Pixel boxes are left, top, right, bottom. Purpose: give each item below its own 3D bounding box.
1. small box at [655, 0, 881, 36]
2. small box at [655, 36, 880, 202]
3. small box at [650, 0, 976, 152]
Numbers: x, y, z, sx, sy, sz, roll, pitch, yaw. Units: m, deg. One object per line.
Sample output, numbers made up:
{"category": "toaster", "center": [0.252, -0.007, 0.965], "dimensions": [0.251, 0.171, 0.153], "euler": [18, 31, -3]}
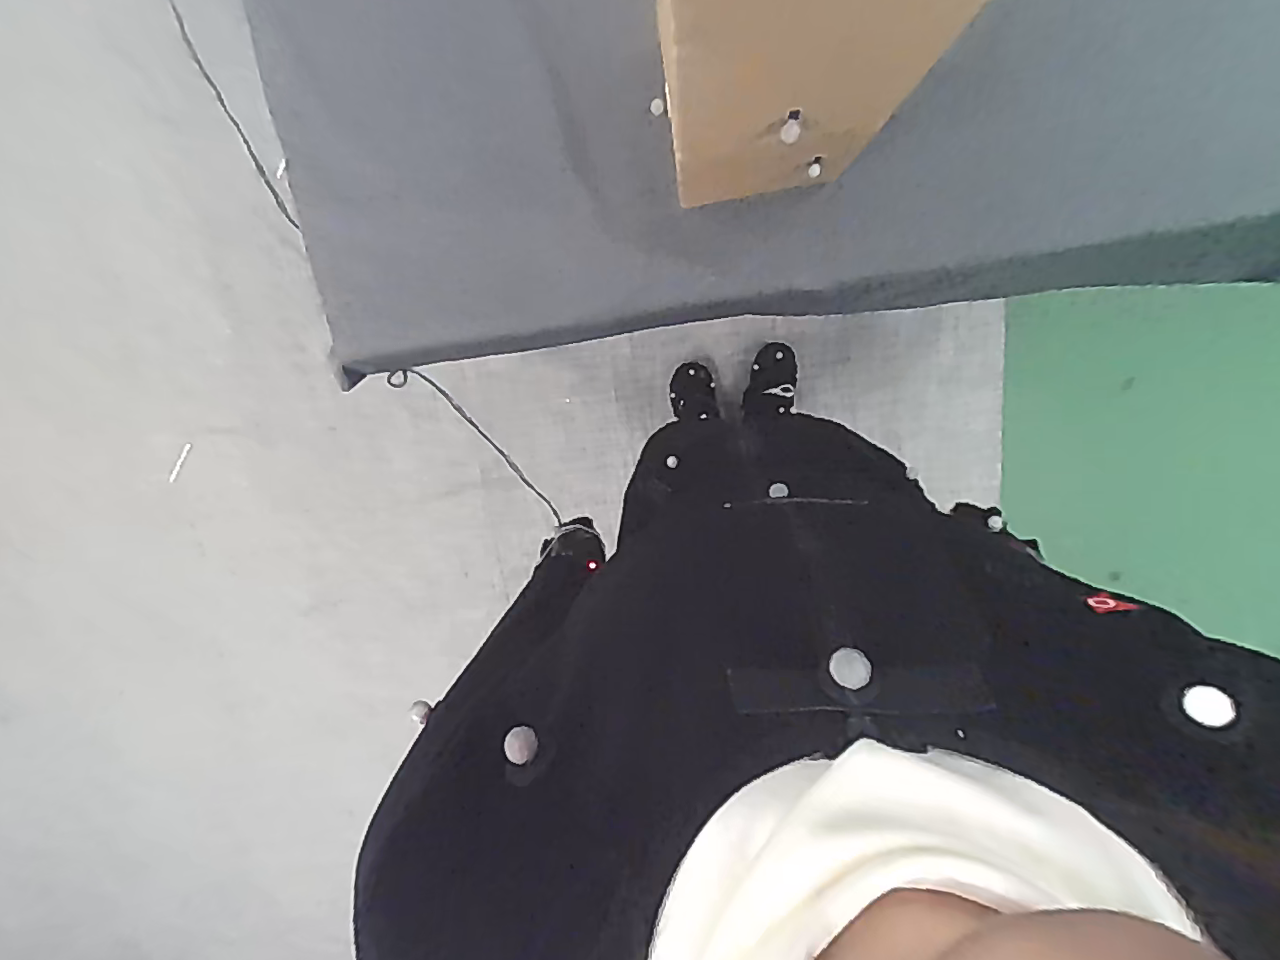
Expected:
{"category": "small box", "center": [0.081, -0.311, 0.196], "dimensions": [0.179, 0.176, 0.168], "euler": [-6, 102, 7]}
{"category": "small box", "center": [0.108, -0.386, 0.515], "dimensions": [0.179, 0.176, 0.168], "euler": [-8, 102, 8]}
{"category": "small box", "center": [0.094, -0.349, 0.358], "dimensions": [0.179, 0.176, 0.168], "euler": [-10, 104, 8]}
